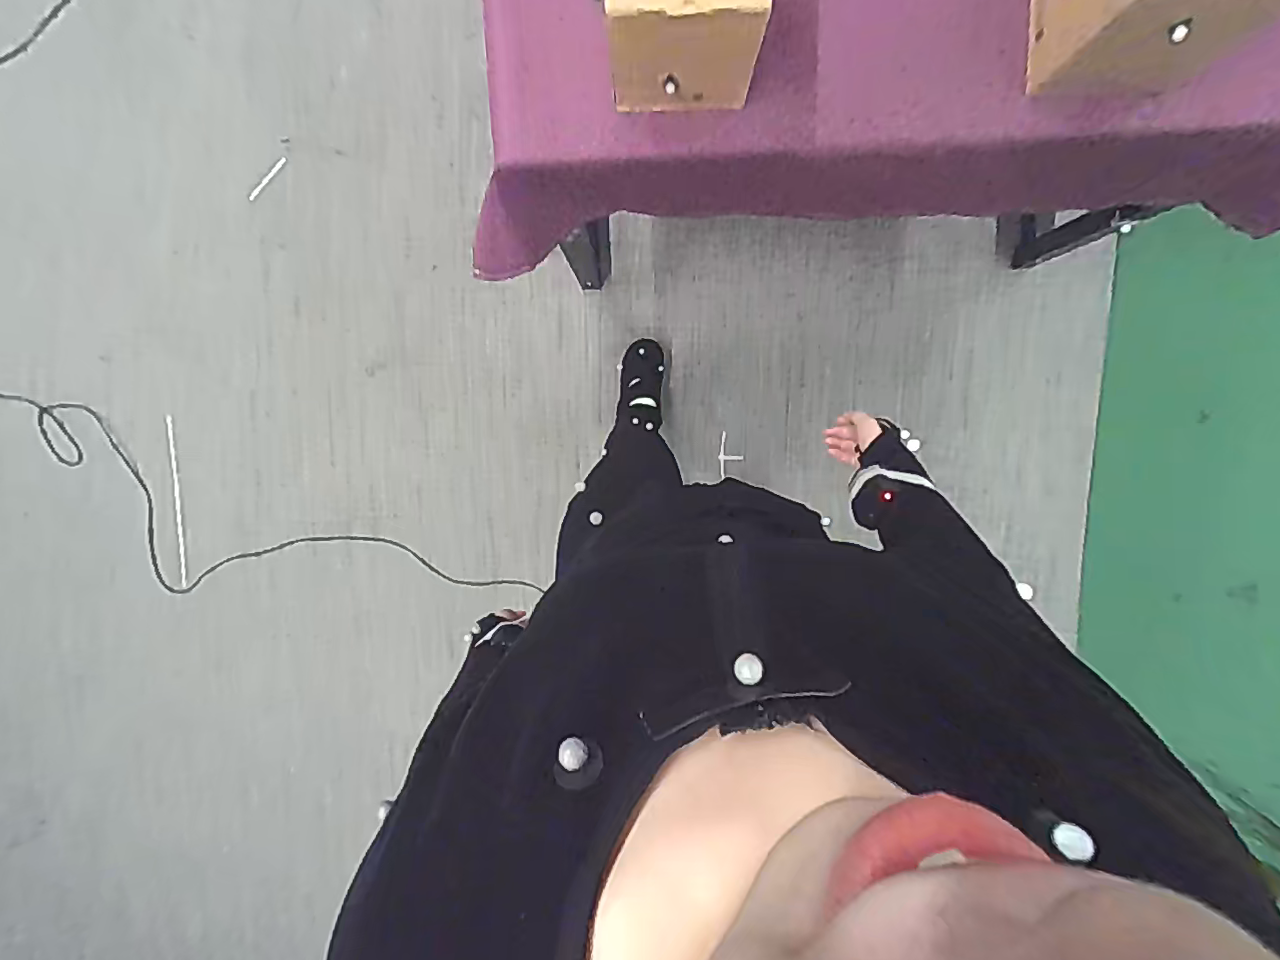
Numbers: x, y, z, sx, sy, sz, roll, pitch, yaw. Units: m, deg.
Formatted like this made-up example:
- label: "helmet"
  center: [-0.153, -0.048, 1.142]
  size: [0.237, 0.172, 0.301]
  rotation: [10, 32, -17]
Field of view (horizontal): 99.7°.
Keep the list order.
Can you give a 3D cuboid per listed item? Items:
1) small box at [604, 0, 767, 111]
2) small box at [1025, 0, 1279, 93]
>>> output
- label: "small box"
  center: [0.045, -0.557, 0.611]
  size: [0.168, 0.176, 0.179]
  rotation: [-1, 96, 1]
- label: "small box"
  center: [0.566, -0.561, 0.596]
  size: [0.179, 0.176, 0.168]
  rotation: [0, 96, 2]
